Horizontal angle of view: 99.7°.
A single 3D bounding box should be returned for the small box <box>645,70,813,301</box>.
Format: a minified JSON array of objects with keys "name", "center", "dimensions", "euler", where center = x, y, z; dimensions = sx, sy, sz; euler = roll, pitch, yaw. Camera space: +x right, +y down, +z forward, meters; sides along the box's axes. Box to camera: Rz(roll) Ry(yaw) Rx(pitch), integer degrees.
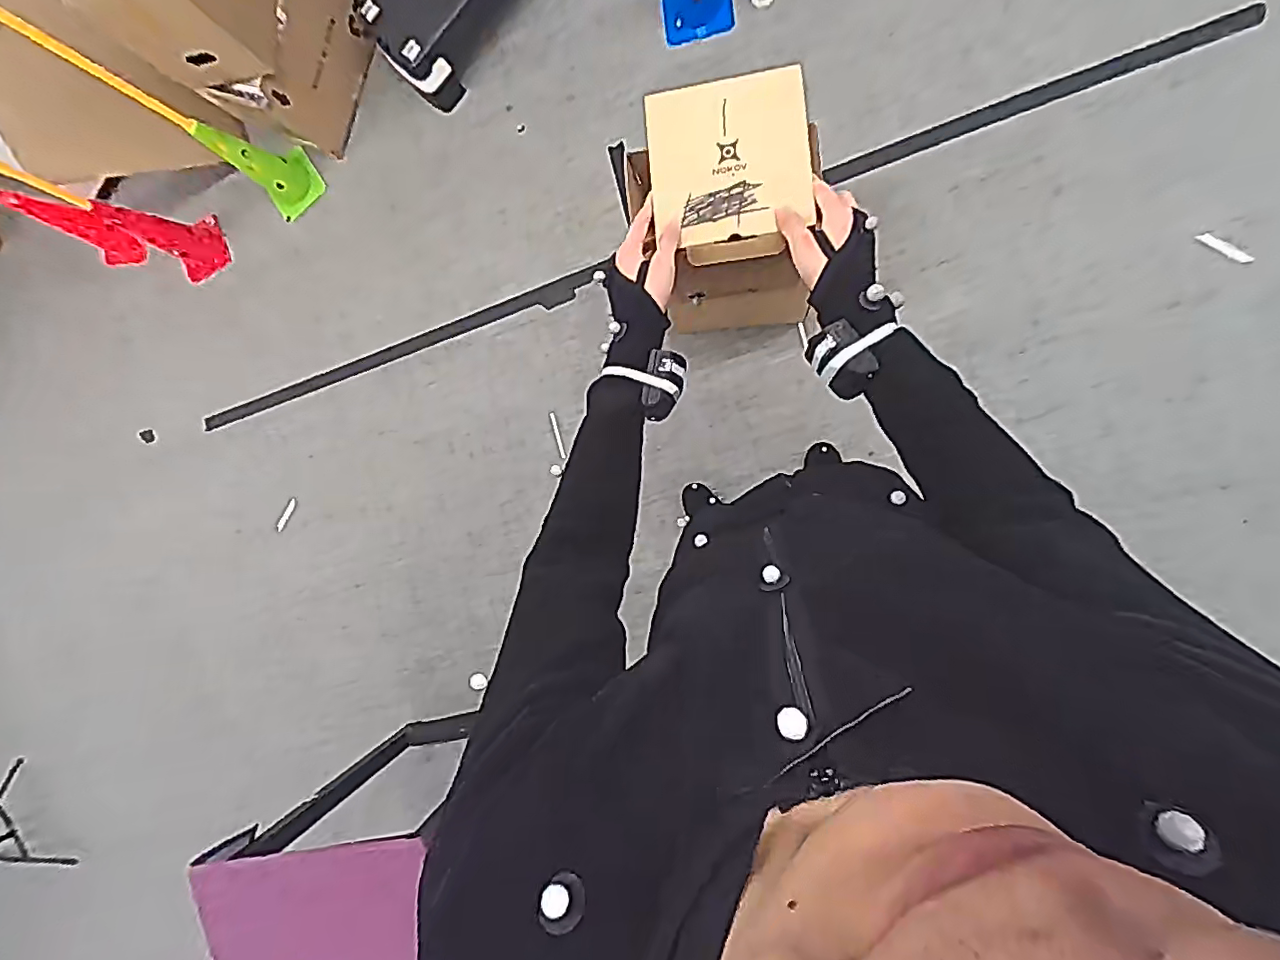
[{"name":"small box","center":[0.106,-0.327,0.645],"dimensions":[0.168,0.176,0.179],"euler":[-6,87,10]}]
